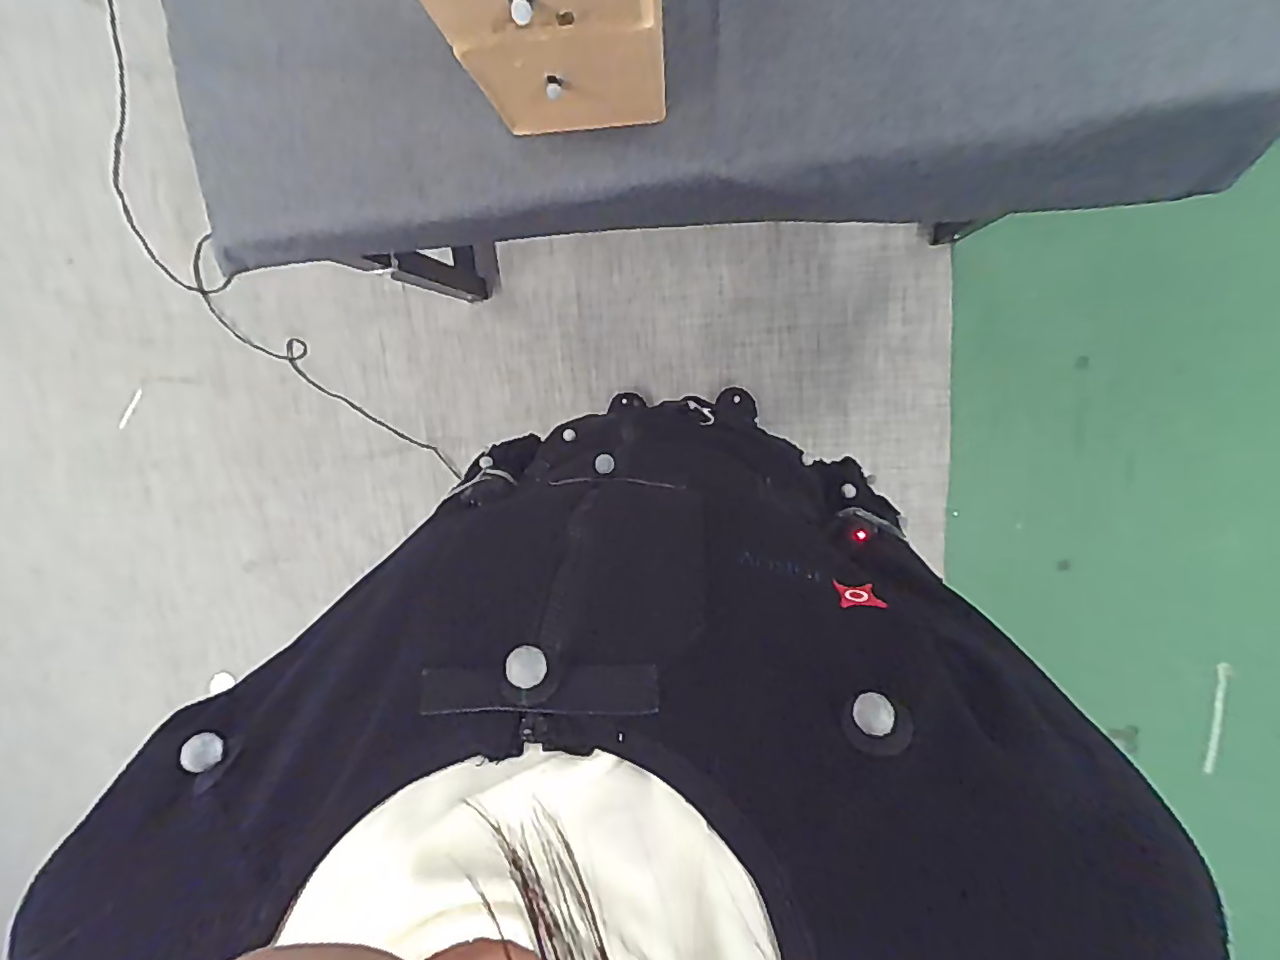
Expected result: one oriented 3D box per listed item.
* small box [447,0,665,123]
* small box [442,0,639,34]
[{"bbox_3d":[-0.070,-0.470,0.517,0.179,0.176,0.168,-1,101,6],"label":"small box"},{"bbox_3d":[-0.089,-0.446,0.355,0.168,0.176,0.179,-1,101,6],"label":"small box"}]
